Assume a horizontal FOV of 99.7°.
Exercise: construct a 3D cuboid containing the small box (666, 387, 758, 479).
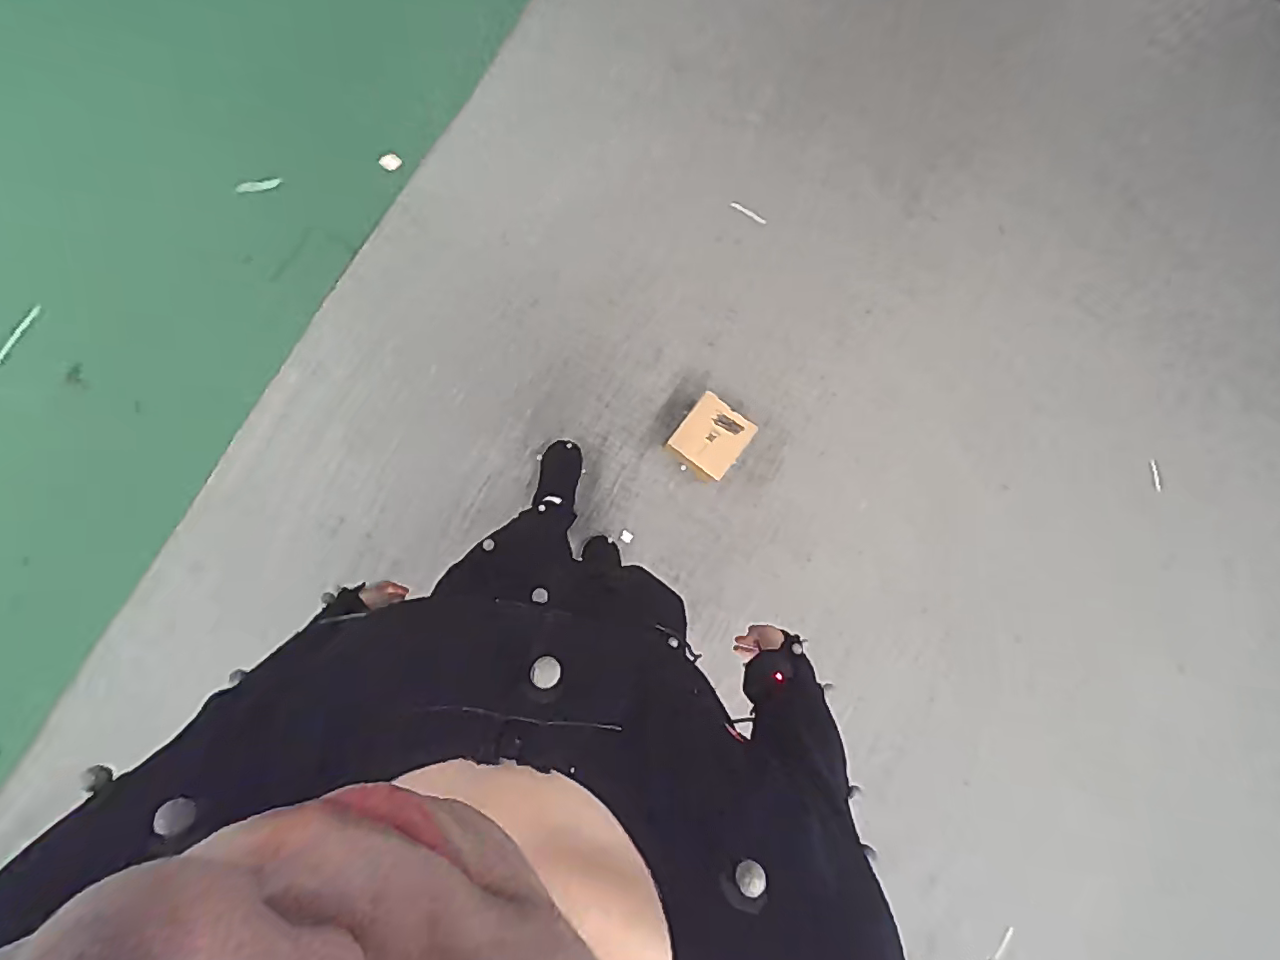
[{"bbox_3d":[0.182,-0.118,1.450,0.168,0.176,0.179,38,87,0],"label":"small box"}]
